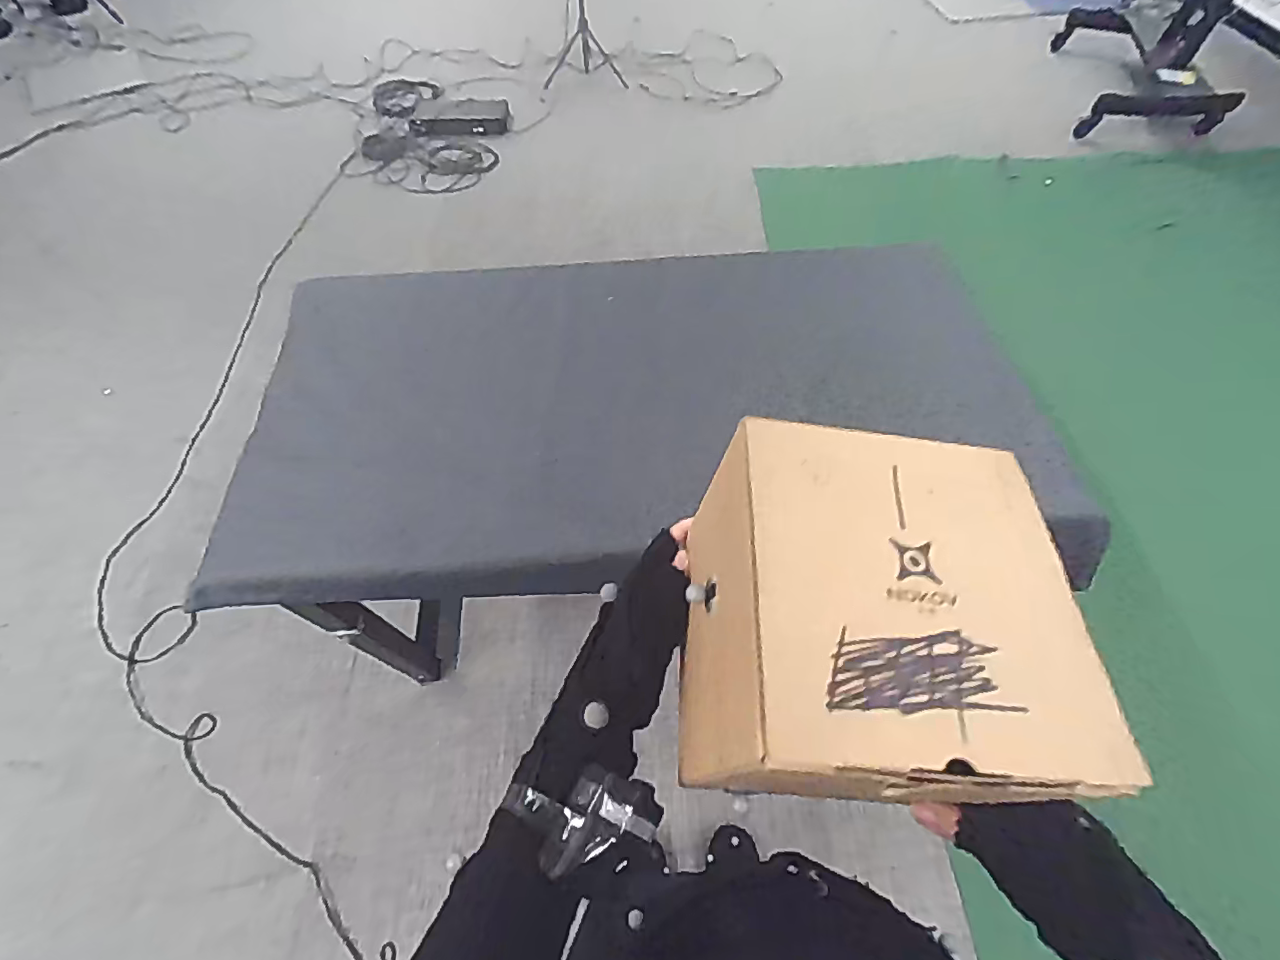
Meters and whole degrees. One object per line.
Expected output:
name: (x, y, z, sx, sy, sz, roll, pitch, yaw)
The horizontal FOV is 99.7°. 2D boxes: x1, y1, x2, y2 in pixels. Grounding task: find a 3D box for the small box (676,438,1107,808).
small box: (0.120, 0.100, 0.343, 0.168, 0.176, 0.179, 8, 56, -5)
